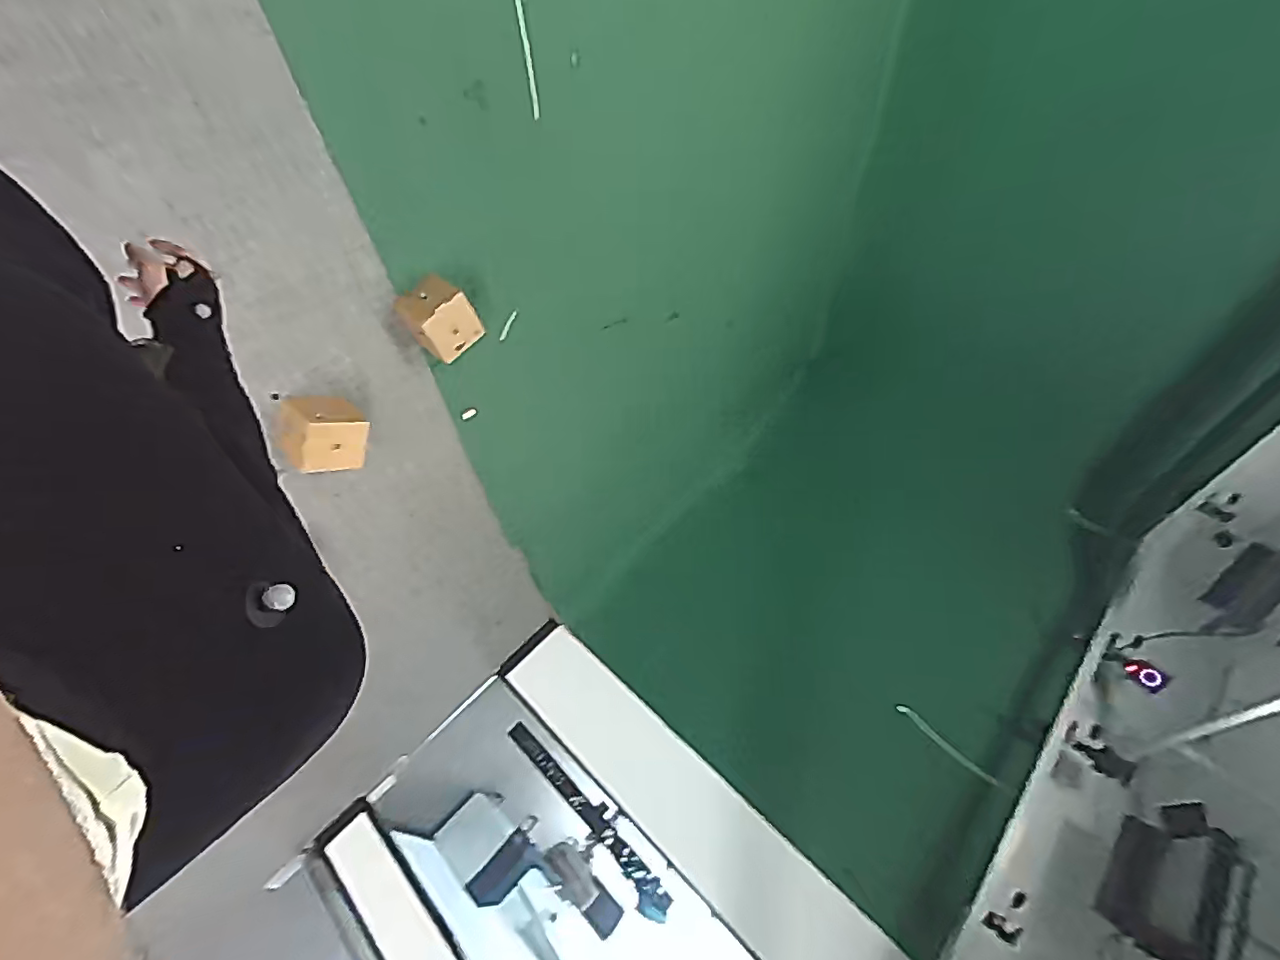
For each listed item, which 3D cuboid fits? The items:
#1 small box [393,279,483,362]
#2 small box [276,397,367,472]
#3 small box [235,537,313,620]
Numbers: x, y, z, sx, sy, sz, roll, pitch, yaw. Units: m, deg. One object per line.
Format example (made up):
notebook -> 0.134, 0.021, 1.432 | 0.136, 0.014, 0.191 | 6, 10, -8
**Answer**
small box -> -0.642, -0.513, 1.712 | 0.168, 0.176, 0.179 | -46, 151, -16
small box -> -0.960, -0.142, 1.627 | 0.179, 0.176, 0.168 | -10, 129, -52
small box -> -1.196, 0.316, 1.763 | 0.168, 0.176, 0.179 | -15, 133, -51
